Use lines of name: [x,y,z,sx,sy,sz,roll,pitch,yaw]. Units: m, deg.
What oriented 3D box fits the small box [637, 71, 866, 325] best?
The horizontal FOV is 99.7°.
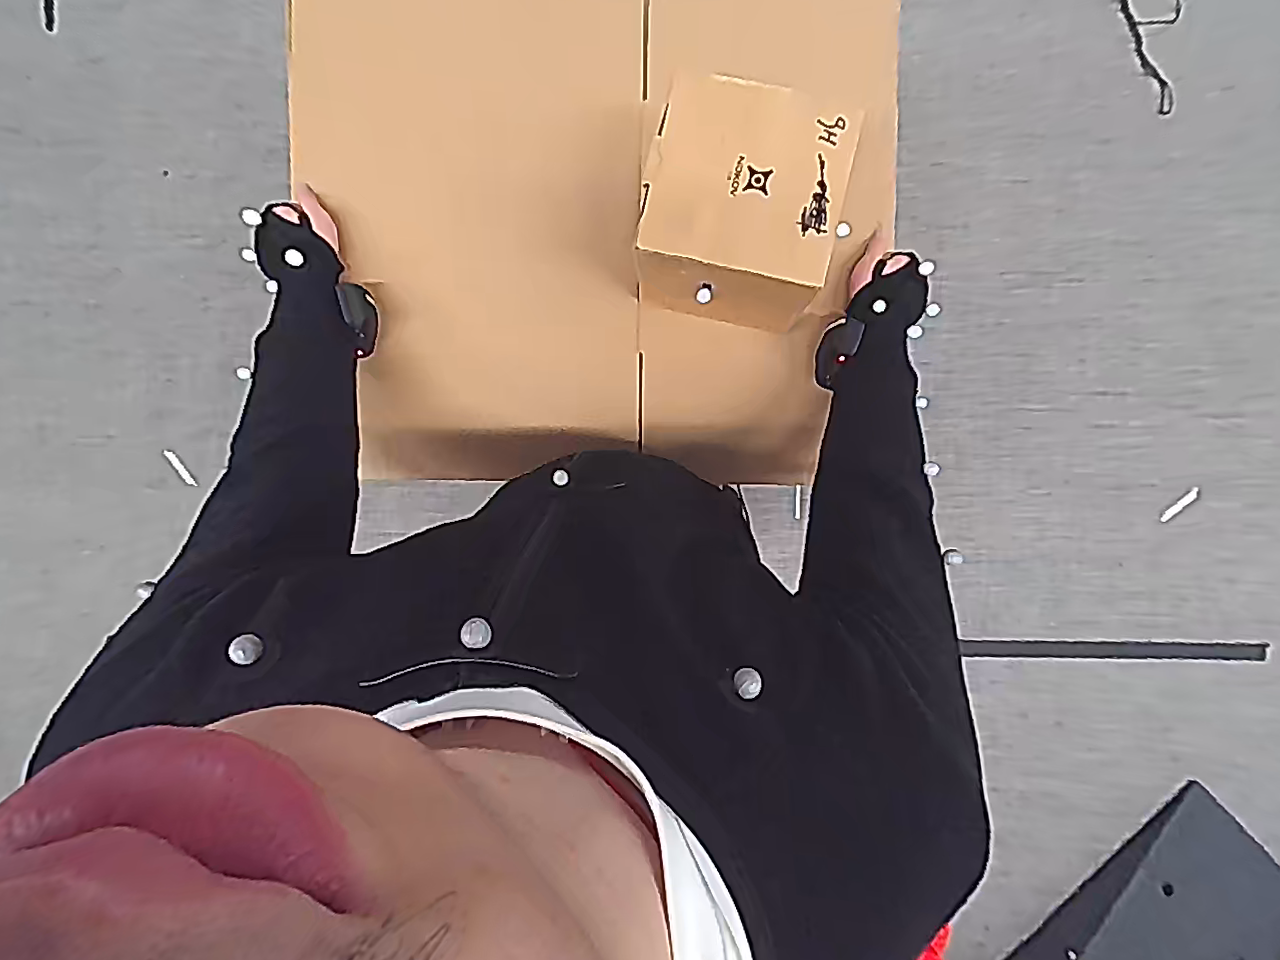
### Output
small box: [0.105,-0.275,0.568,0.179,0.176,0.168,13,92,4]
